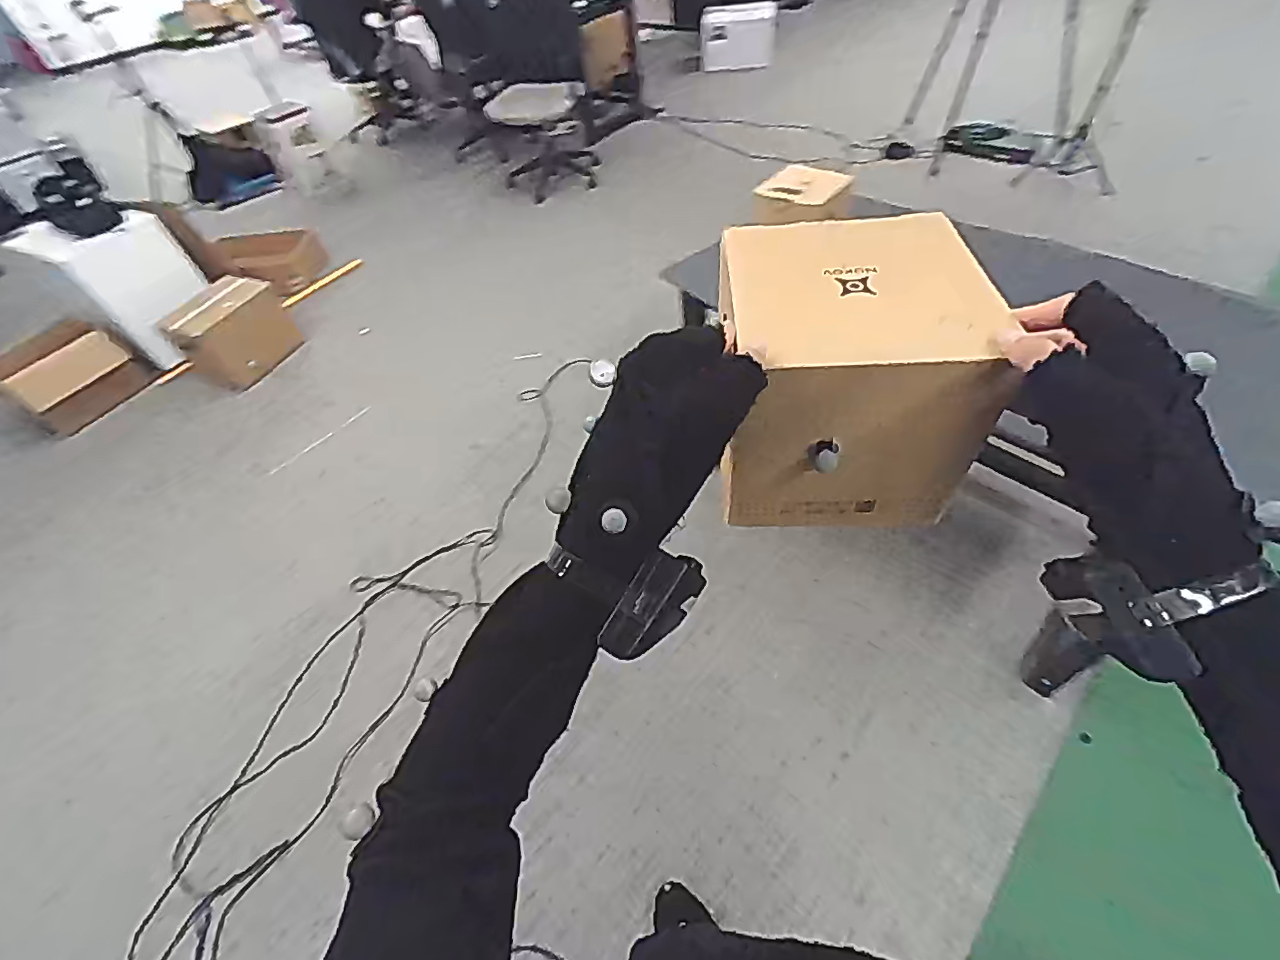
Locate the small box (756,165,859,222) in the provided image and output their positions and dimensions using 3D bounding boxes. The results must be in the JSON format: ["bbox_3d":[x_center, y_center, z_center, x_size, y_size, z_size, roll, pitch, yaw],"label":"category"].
[{"bbox_3d":[0.392,-0.621,1.291,0.168,0.176,0.179,32,60,29],"label":"small box"}]

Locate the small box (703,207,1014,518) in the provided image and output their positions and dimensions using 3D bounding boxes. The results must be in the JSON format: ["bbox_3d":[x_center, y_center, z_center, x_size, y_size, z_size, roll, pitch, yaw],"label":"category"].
[{"bbox_3d":[0.136,-0.081,0.416,0.168,0.176,0.179,-2,50,5],"label":"small box"}]
